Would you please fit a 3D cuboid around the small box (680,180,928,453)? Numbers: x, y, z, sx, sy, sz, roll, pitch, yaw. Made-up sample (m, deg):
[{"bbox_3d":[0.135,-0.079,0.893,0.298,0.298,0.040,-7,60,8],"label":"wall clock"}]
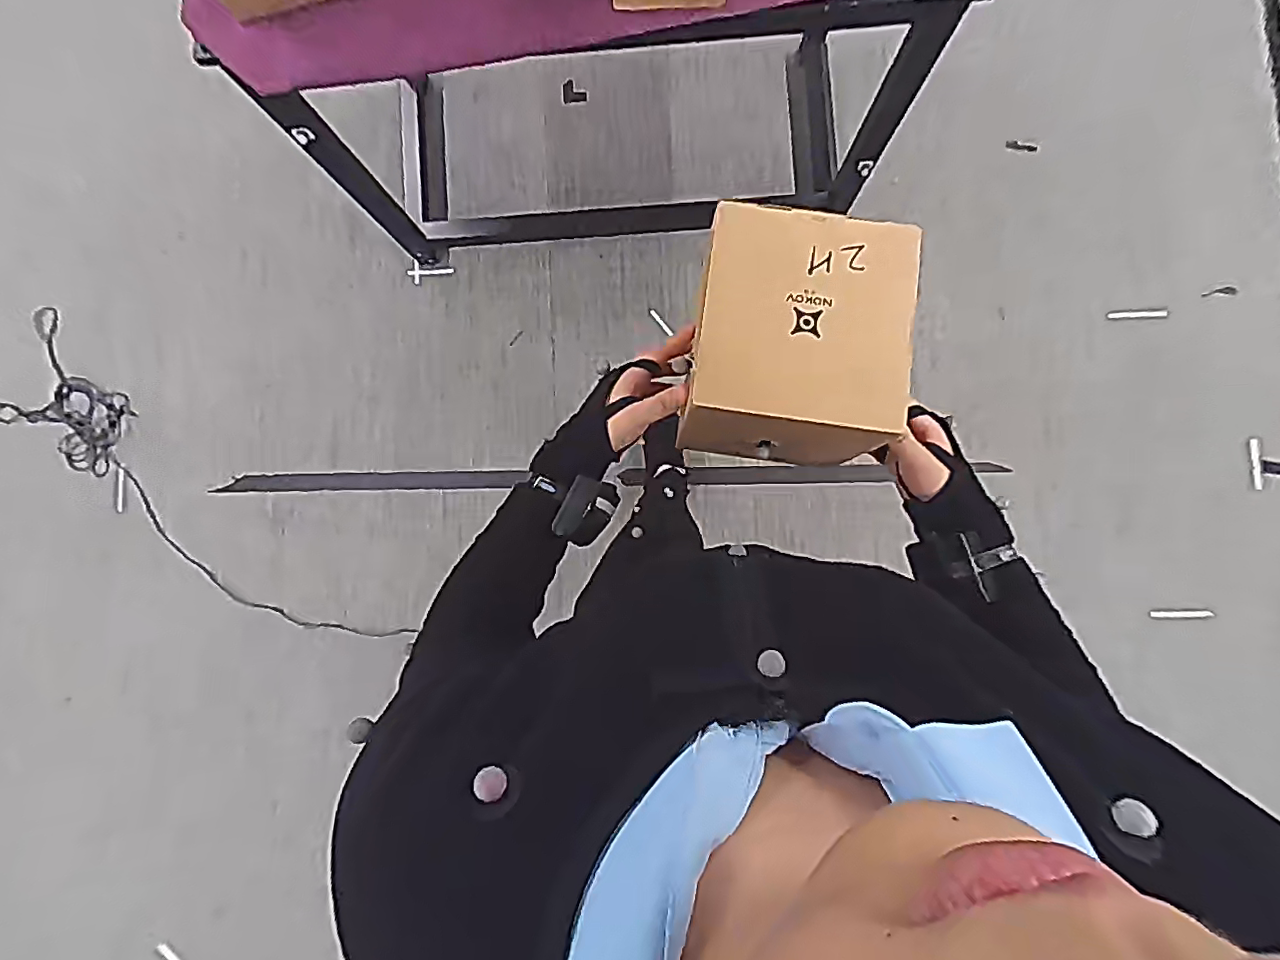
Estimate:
[{"bbox_3d":[0.131,-0.130,0.493,0.168,0.176,0.179,9,82,1],"label":"small box"}]
